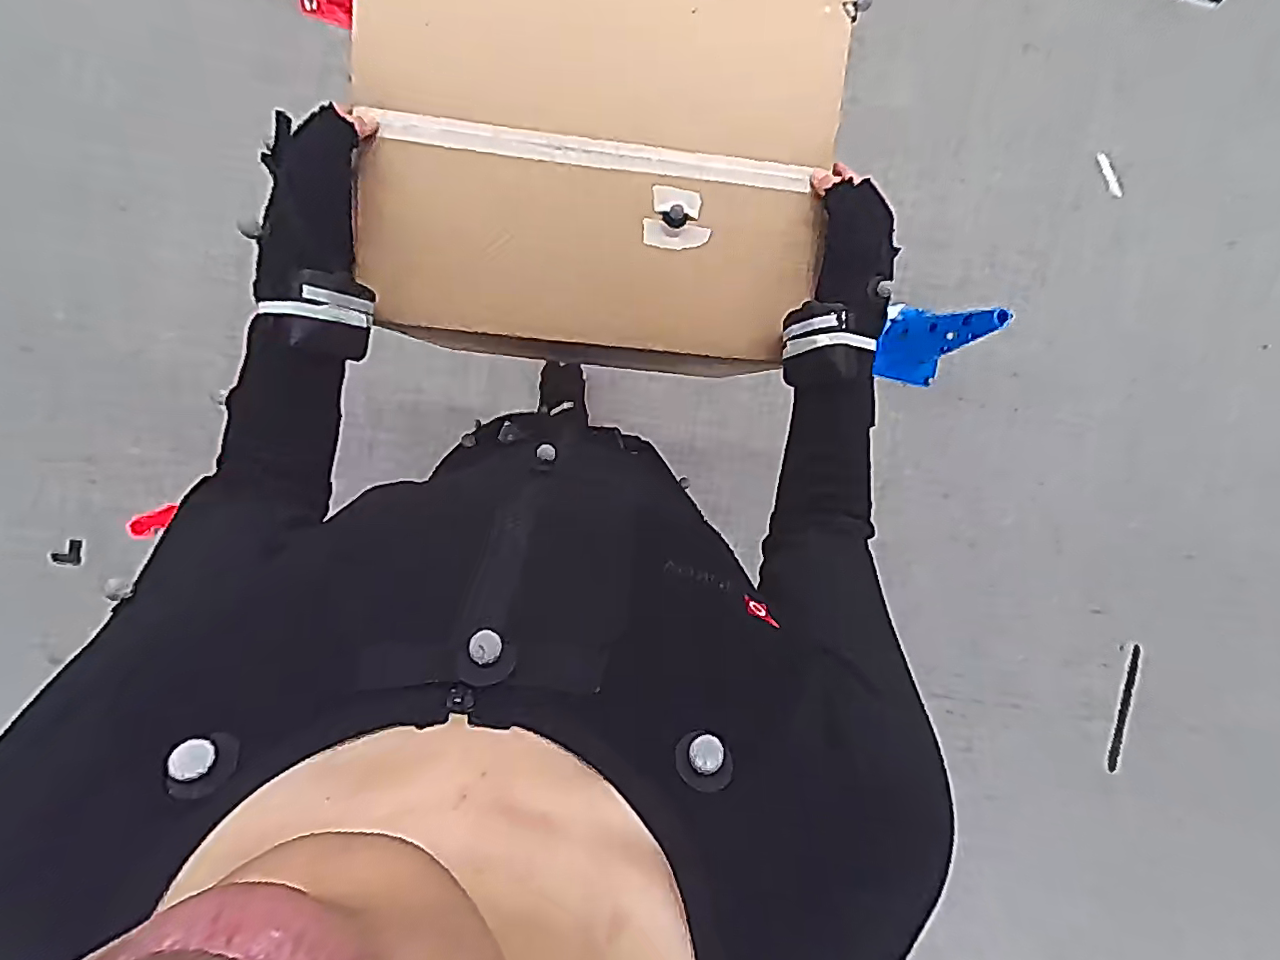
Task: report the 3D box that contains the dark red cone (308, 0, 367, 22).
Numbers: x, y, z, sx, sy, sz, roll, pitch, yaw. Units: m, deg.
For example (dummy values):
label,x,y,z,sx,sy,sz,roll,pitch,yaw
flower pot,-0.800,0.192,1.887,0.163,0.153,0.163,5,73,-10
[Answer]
label,x,y,z,sx,sy,sz,roll,pitch,yaw
dark red cone,-0.683,-1.187,1.108,0.201,0.394,0.202,15,94,-6

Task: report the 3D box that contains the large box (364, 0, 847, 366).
label,x,y,z,sx,sy,sz,roll,pitch,yaw
large box,-0.045,-0.309,0.609,0.408,0.320,0.320,4,99,-7

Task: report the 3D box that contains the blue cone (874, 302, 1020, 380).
label,x,y,z,sx,sy,sz,roll,pitch,yaw
blue cone,0.757,-0.367,1.320,0.192,0.380,0.193,13,94,-6
